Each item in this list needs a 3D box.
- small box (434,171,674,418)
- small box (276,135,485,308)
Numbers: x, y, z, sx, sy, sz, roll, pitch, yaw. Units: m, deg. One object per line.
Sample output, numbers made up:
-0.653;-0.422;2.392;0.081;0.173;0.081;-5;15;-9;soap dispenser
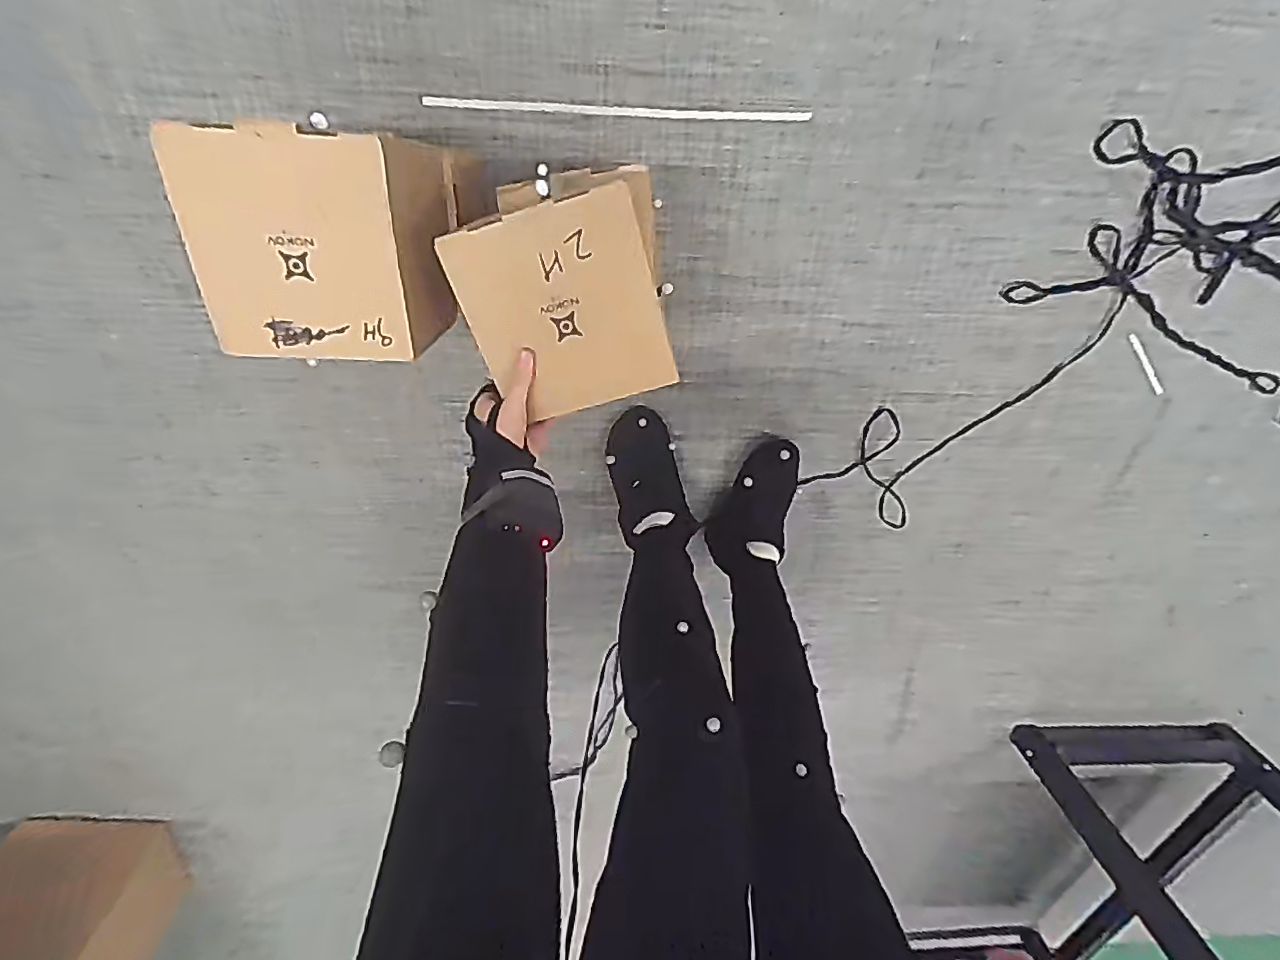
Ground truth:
-0.068;-0.188;0.533;0.168;0.176;0.179;-14;119;6;small box
-0.284;-0.310;0.650;0.179;0.176;0.168;1;118;-3;small box
